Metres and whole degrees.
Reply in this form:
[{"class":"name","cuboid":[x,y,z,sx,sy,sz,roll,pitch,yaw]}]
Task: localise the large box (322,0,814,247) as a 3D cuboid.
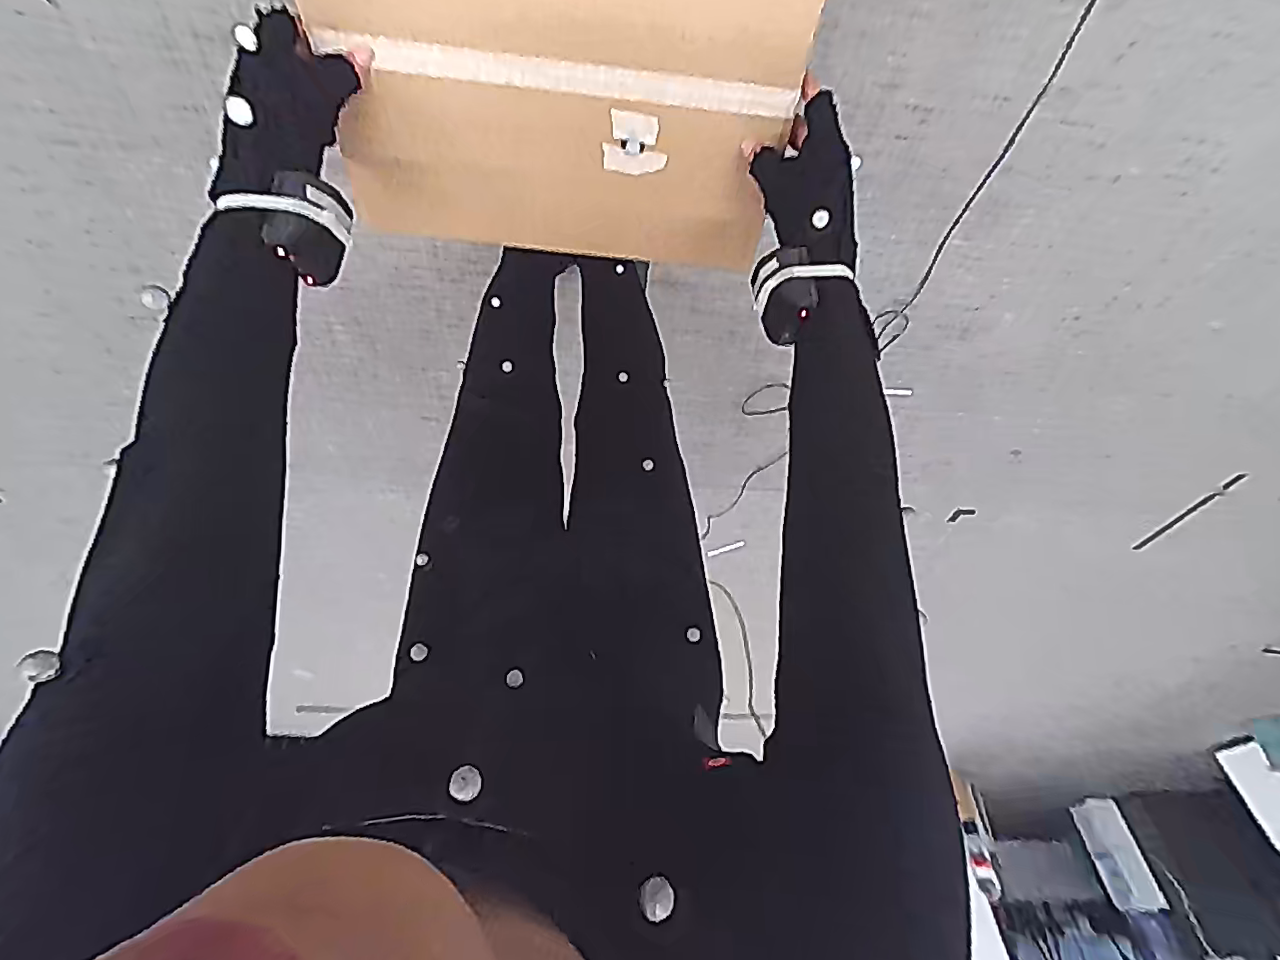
[{"class":"large box","cuboid":[-0.064,-0.477,0.560,0.408,0.320,0.320,3,142,-5]}]
